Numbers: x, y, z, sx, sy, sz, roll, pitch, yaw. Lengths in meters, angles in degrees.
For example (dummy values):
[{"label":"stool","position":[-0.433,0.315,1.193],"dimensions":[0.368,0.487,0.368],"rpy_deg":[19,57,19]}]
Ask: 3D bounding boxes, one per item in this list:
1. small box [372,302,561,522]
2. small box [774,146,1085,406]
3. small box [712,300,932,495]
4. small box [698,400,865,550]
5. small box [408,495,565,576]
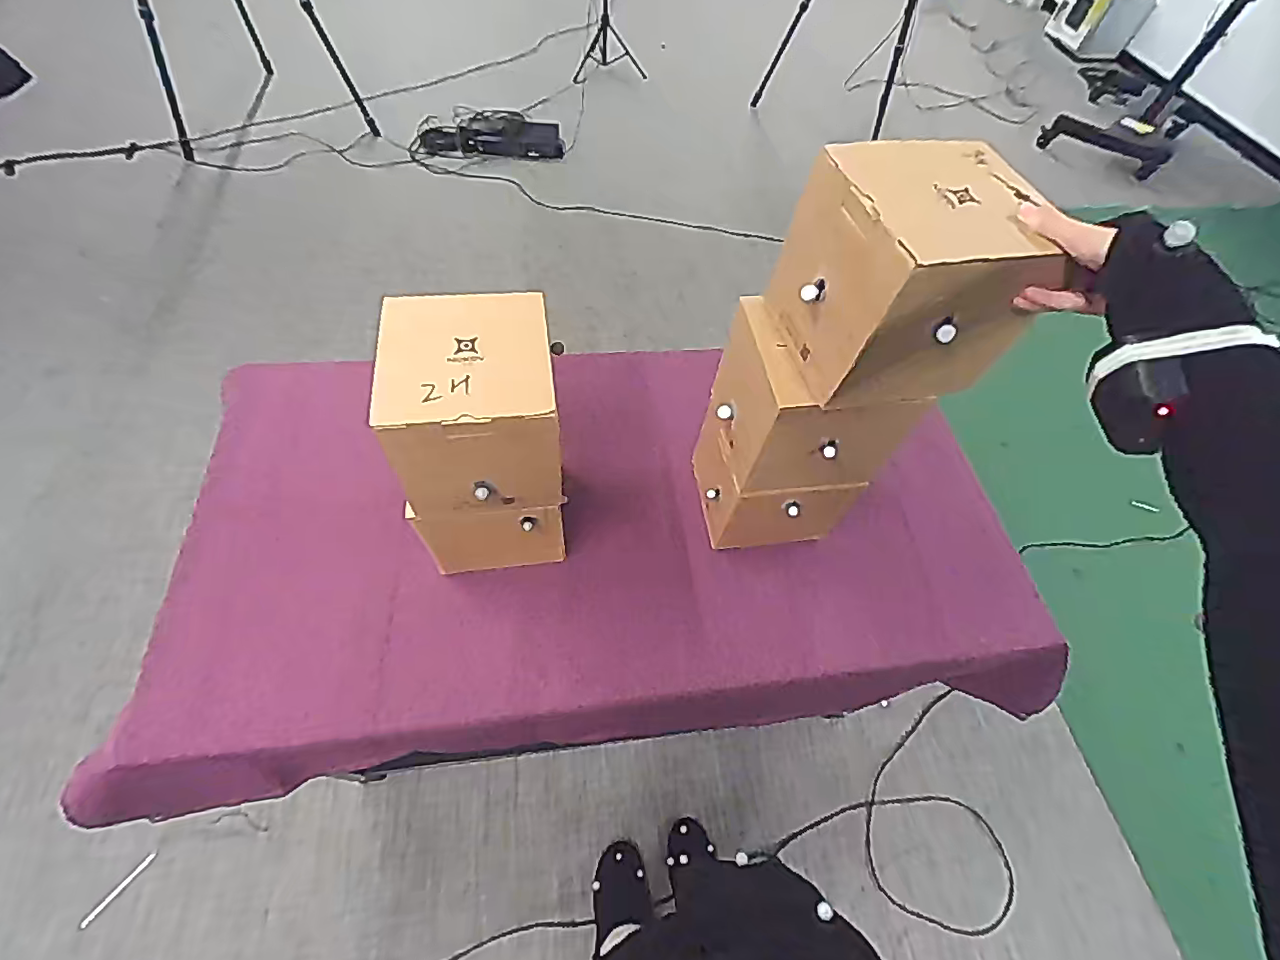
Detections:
[{"label":"small box","position":[-0.179,-0.074,0.603],"dimensions":[0.168,0.176,0.179],"rpy_deg":[-6,58,-9]},{"label":"small box","position":[0.246,-0.188,0.518],"dimensions":[0.179,0.176,0.168],"rpy_deg":[-10,60,-13]},{"label":"small box","position":[0.200,-0.097,0.653],"dimensions":[0.179,0.176,0.168],"rpy_deg":[-5,58,-8]},{"label":"small box","position":[0.188,-0.007,0.790],"dimensions":[0.179,0.176,0.168],"rpy_deg":[-4,58,-8]},{"label":"small box","position":[-0.199,0.020,0.738],"dimensions":[0.179,0.176,0.168],"rpy_deg":[-5,58,-10]}]
